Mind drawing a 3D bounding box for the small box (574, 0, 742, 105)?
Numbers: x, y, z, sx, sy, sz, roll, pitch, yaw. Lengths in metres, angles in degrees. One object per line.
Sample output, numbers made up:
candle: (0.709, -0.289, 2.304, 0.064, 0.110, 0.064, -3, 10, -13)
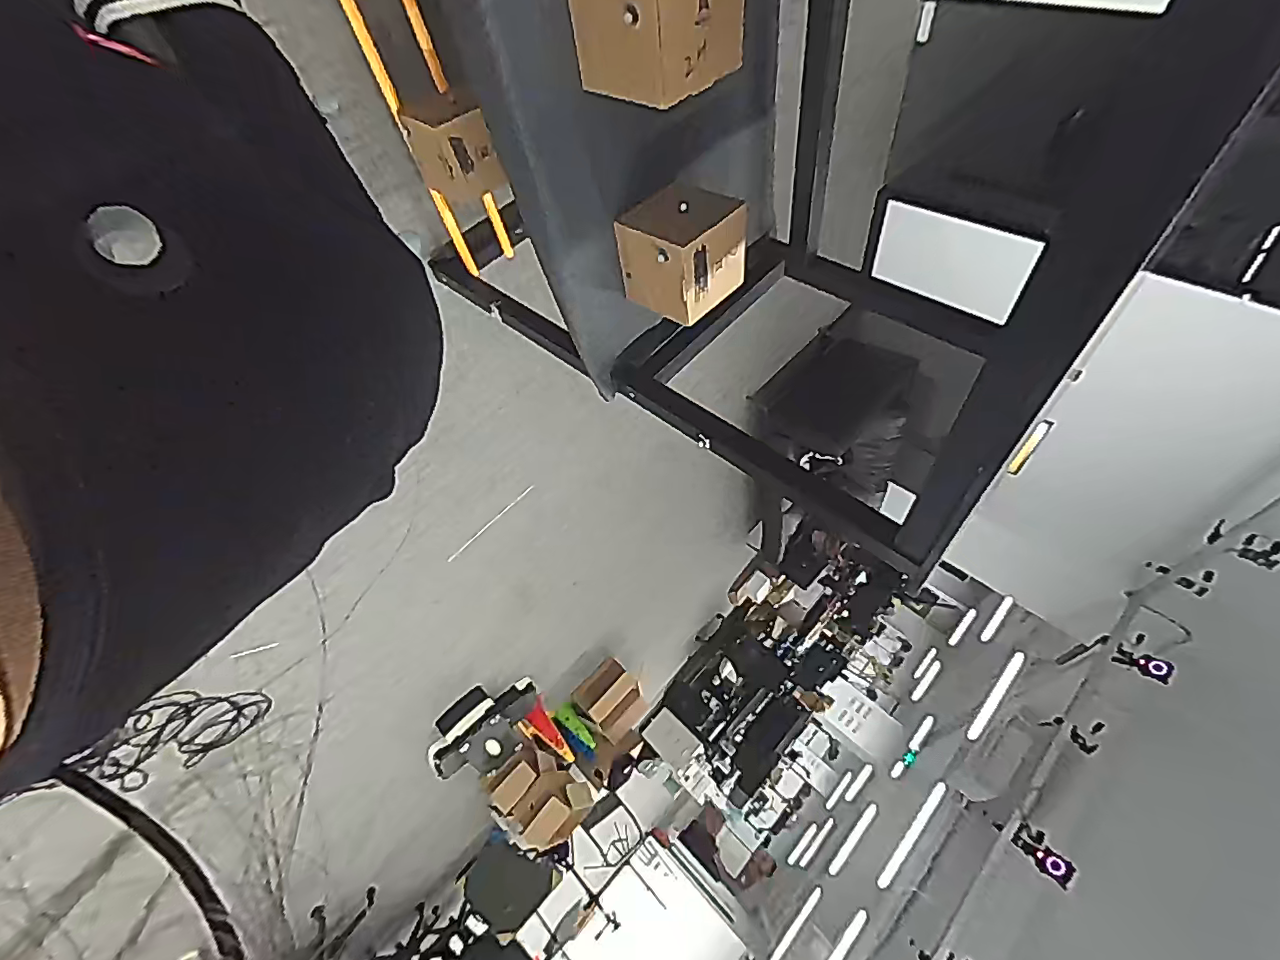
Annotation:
small box: (0.020, -0.640, 0.720, 0.168, 0.176, 0.179, -42, 150, -21)

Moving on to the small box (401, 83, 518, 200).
small box: (-0.415, -0.776, 1.235, 0.179, 0.176, 0.168, -41, 150, -21)
